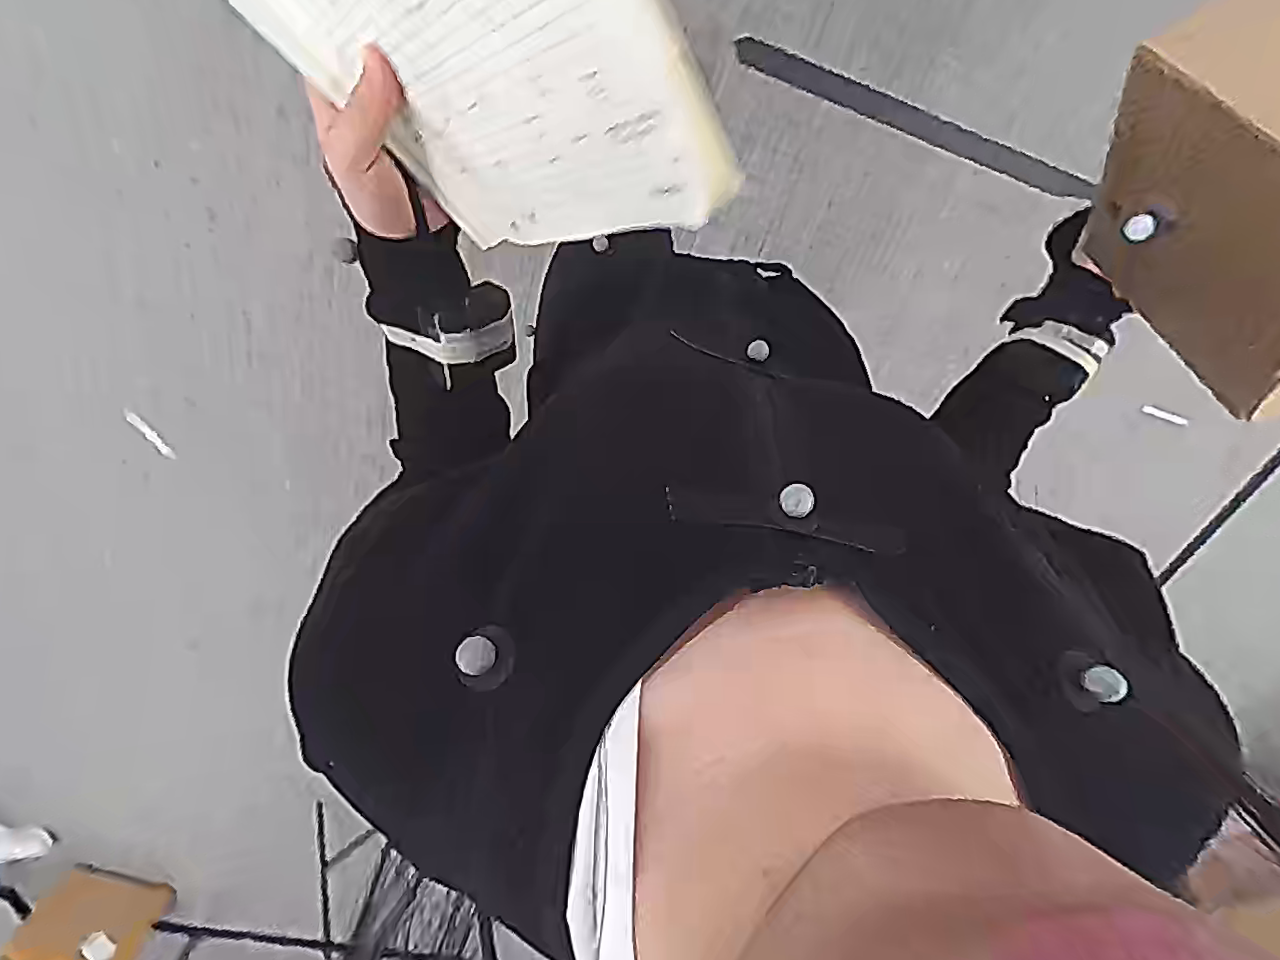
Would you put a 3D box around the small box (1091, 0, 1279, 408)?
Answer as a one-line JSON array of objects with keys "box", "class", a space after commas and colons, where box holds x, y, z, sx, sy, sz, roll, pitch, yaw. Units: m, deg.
[{"box": [0.390, -0.174, 0.275, 0.179, 0.176, 0.168, -25, 150, 20], "class": "small box"}]
